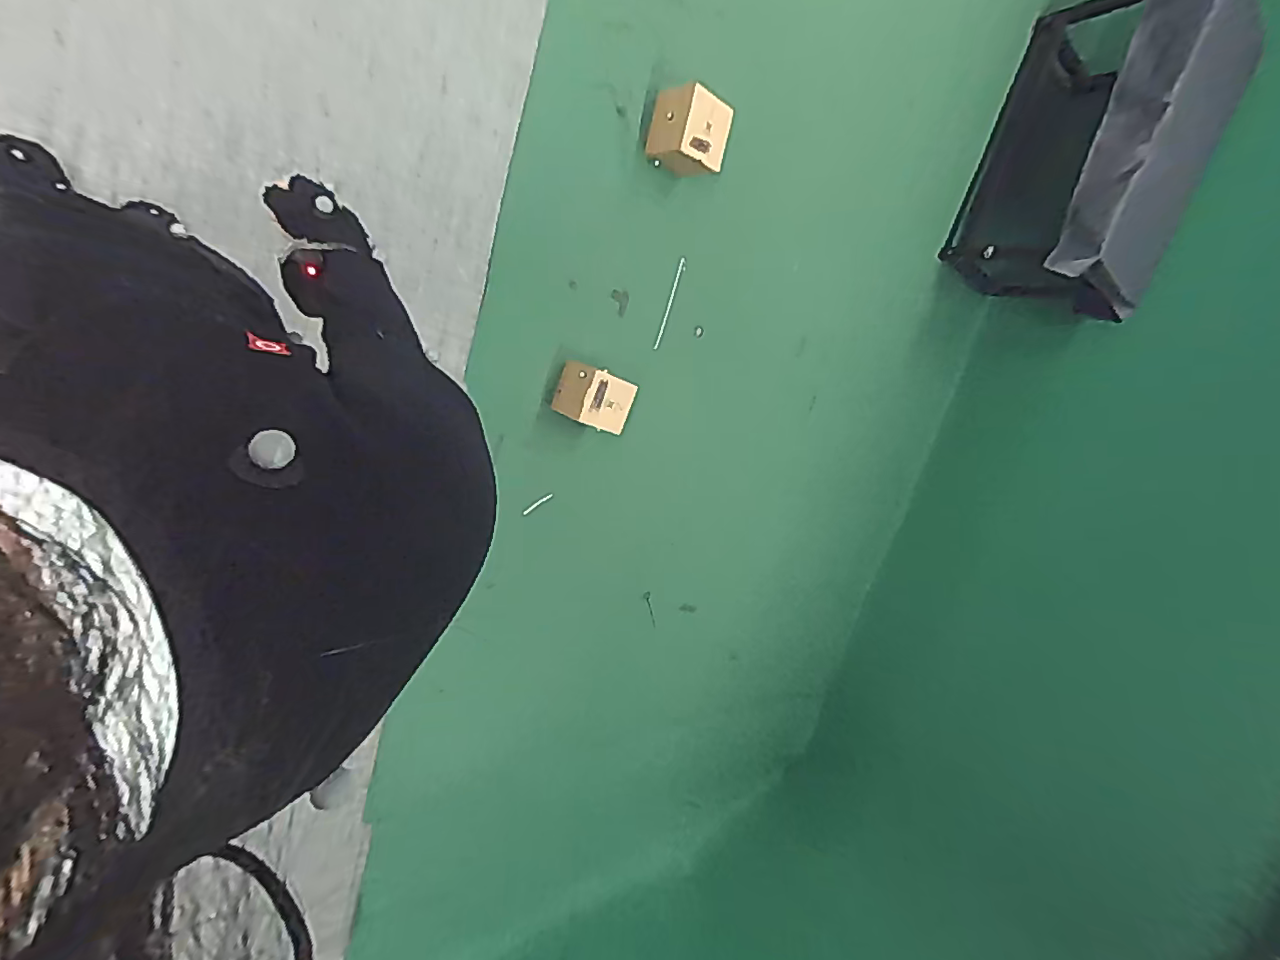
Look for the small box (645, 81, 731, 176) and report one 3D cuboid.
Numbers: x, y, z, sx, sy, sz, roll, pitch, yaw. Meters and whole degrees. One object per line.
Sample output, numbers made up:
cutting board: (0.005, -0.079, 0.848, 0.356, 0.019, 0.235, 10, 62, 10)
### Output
small box: (0.135, -1.026, 1.598, 0.168, 0.176, 0.179, 3, 106, -42)
